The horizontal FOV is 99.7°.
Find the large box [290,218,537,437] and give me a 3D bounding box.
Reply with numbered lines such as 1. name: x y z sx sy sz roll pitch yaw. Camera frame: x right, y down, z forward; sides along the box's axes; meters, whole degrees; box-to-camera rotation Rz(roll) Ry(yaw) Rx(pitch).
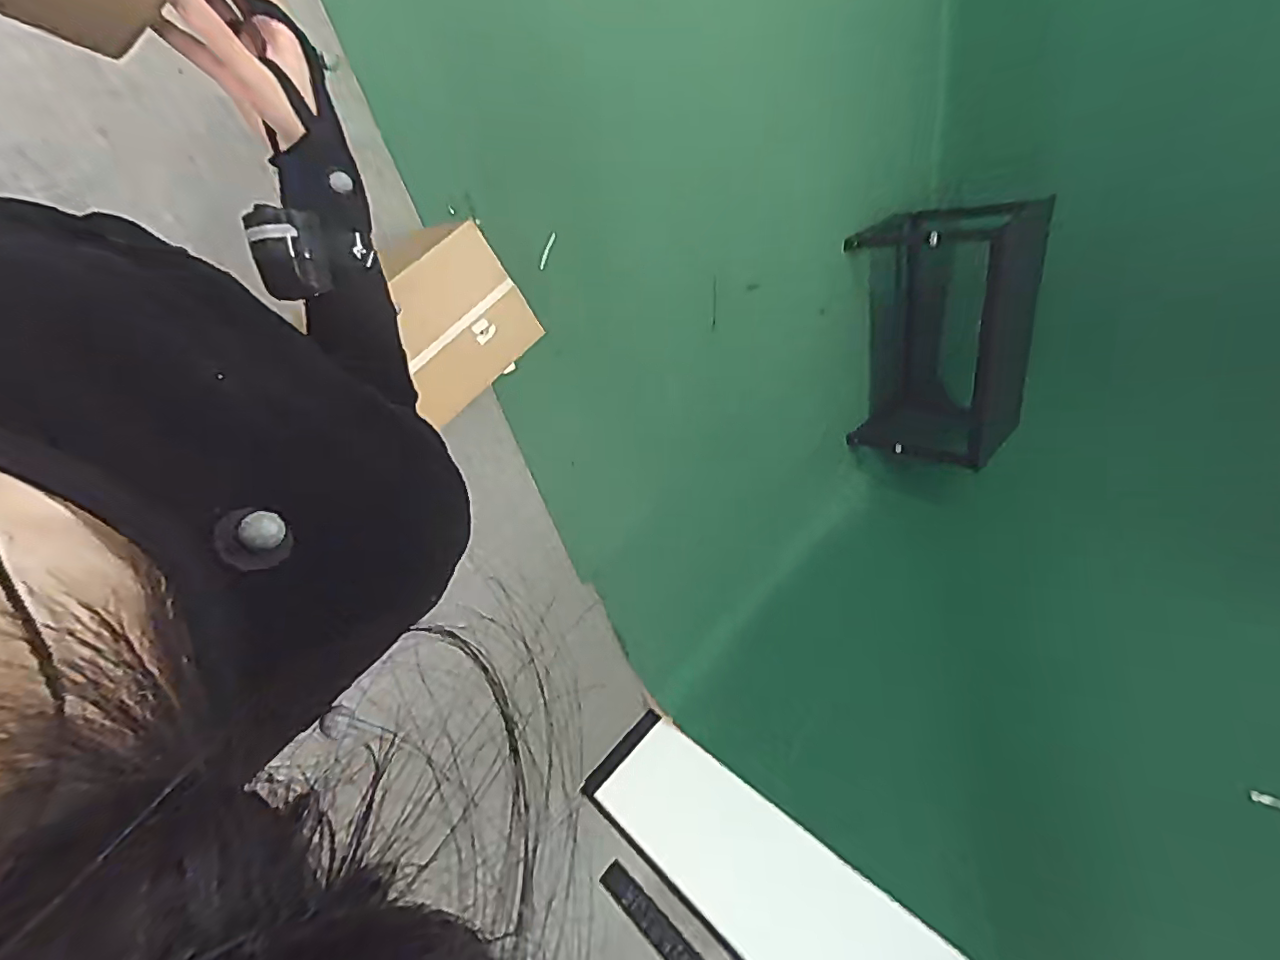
1. large box: -0.543 -0.372 1.322 0.408 0.320 0.320 -50 134 -20

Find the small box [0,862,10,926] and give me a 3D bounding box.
1. small box: -0.959 0.581 0.682 0.179 0.176 0.168 -17 118 -40
